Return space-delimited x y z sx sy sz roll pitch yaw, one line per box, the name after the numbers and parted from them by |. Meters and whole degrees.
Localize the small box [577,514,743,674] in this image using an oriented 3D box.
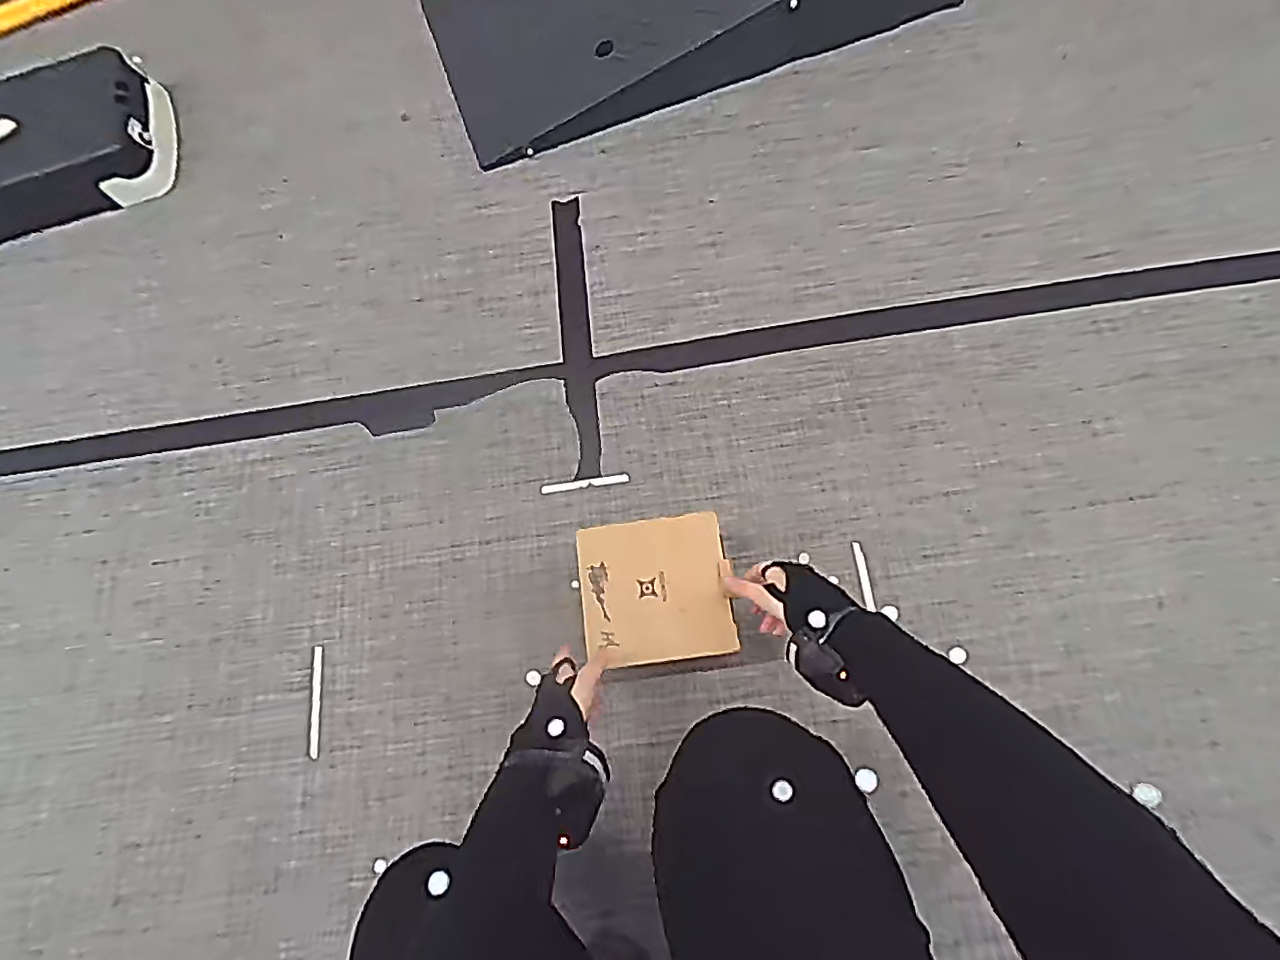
0.022 0.147 0.691 0.179 0.176 0.168 -7 74 1 | small box
